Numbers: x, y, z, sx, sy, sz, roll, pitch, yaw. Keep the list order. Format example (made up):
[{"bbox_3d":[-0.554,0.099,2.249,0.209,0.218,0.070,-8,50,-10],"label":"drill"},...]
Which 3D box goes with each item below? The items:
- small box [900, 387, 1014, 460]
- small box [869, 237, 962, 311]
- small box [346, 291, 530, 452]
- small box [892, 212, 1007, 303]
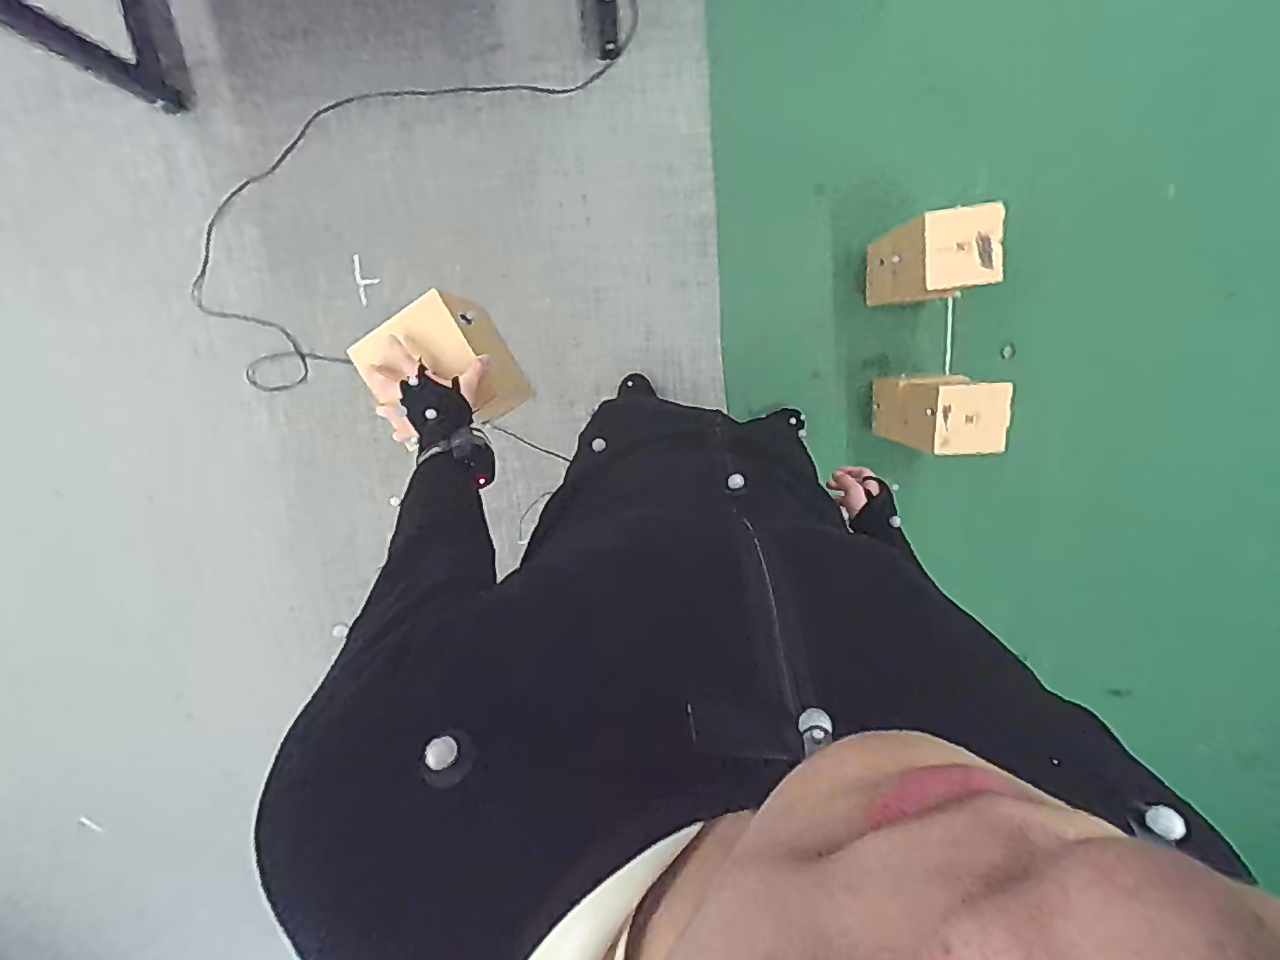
[{"bbox_3d":[0.785,-0.146,1.354,0.179,0.176,0.168,-1,103,-1],"label":"small box"},{"bbox_3d":[0.725,-0.544,1.434,0.179,0.176,0.168,-4,102,0],"label":"small box"},{"bbox_3d":[-0.302,-0.163,0.842,0.168,0.176,0.179,-29,95,12],"label":"small box"},{"bbox_3d":[0.719,-0.516,1.272,0.179,0.176,0.168,-6,102,1],"label":"small box"}]
